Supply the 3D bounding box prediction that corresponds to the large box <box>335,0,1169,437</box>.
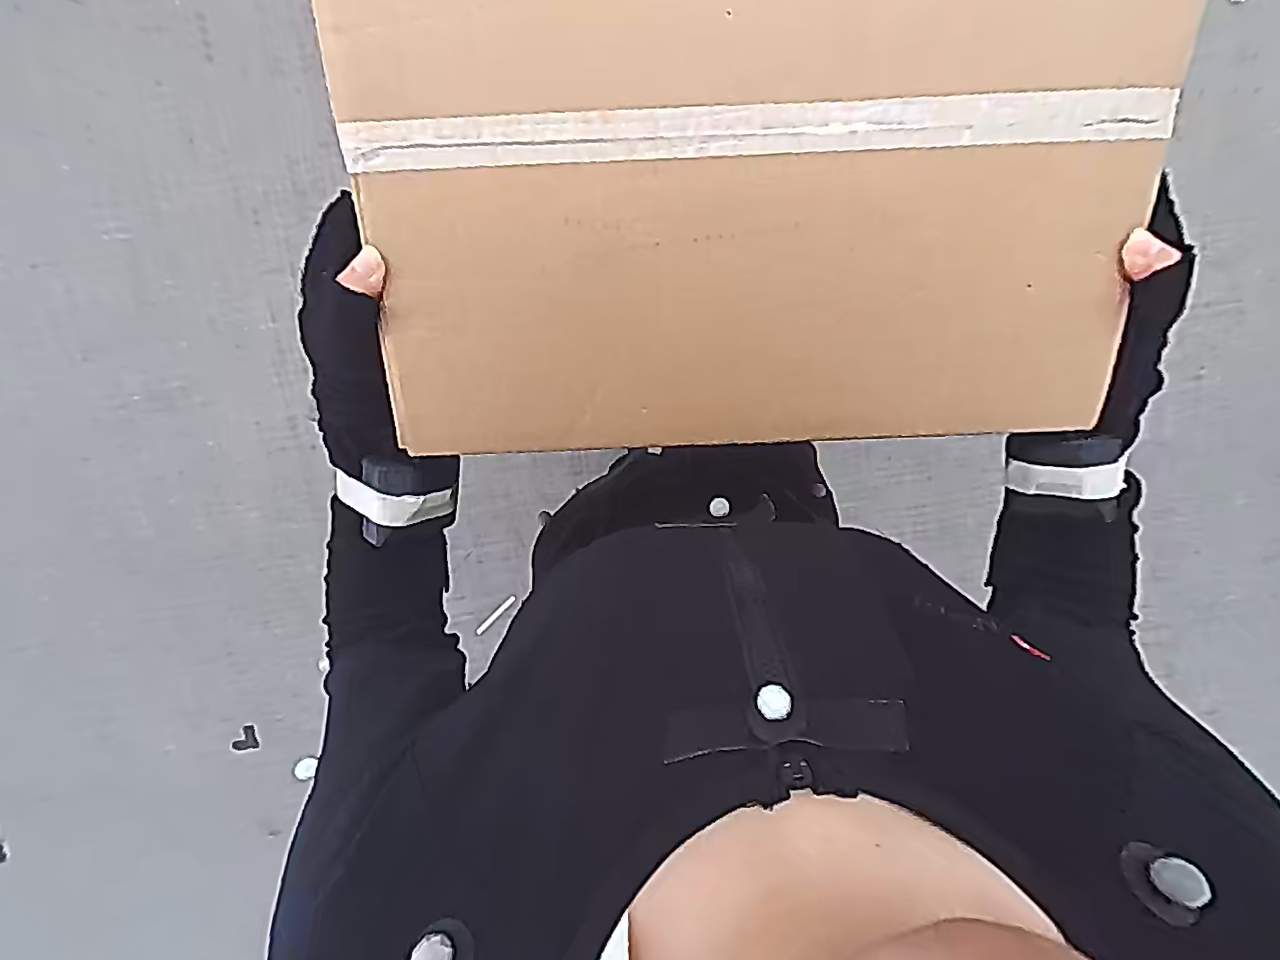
[{"bbox_3d":[0.051,-0.230,0.414,0.408,0.320,0.320,-3,111,-1],"label":"large box"}]
